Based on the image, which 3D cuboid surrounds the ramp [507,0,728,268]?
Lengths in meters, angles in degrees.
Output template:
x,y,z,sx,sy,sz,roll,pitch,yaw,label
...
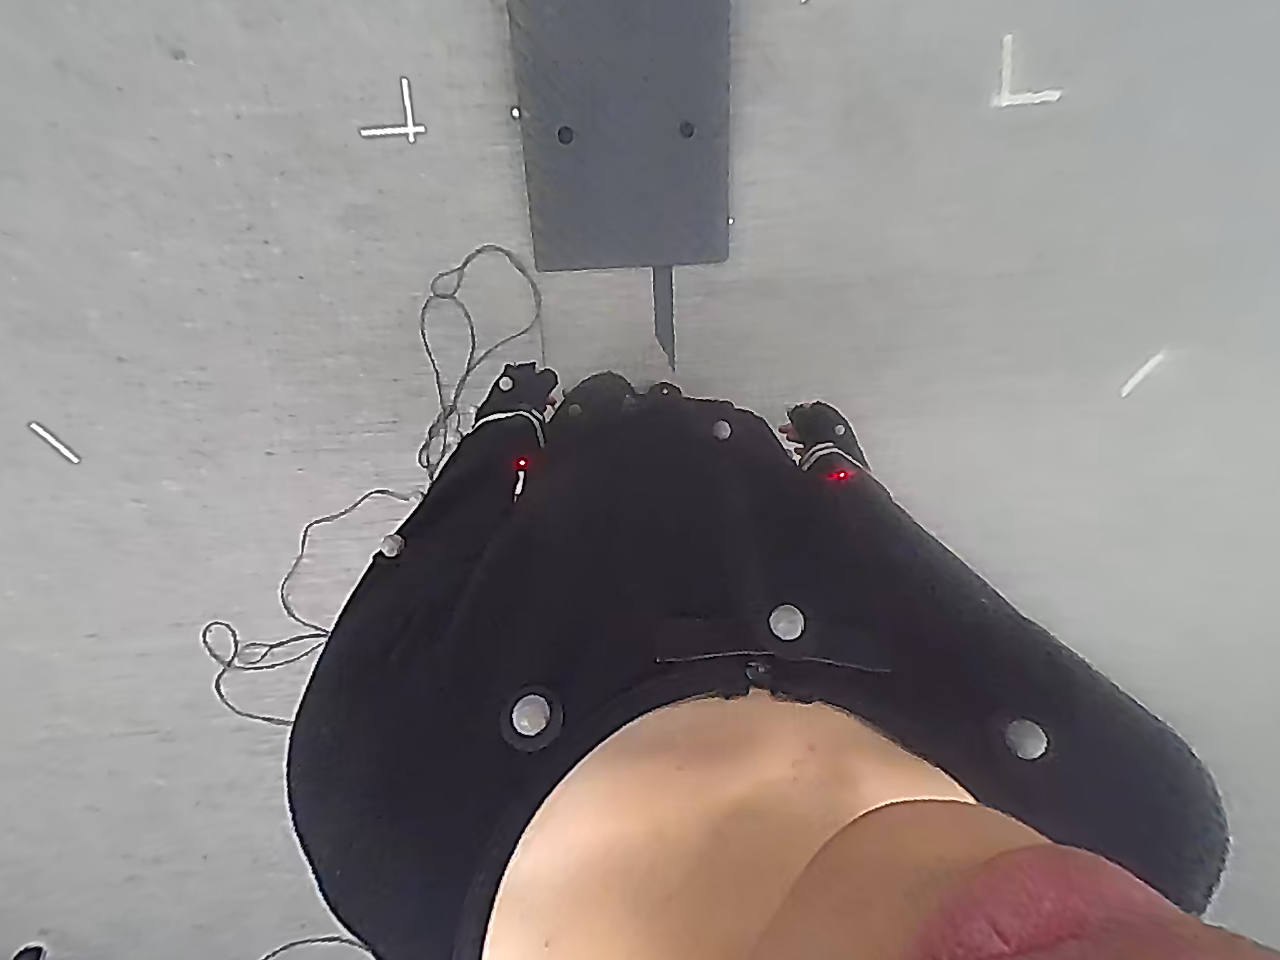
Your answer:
x,y,z,sx,sy,sz,roll,pitch,yaw,label
-0.046,-1.019,1.200,0.509,0.206,0.991,-6,101,-2,ramp
